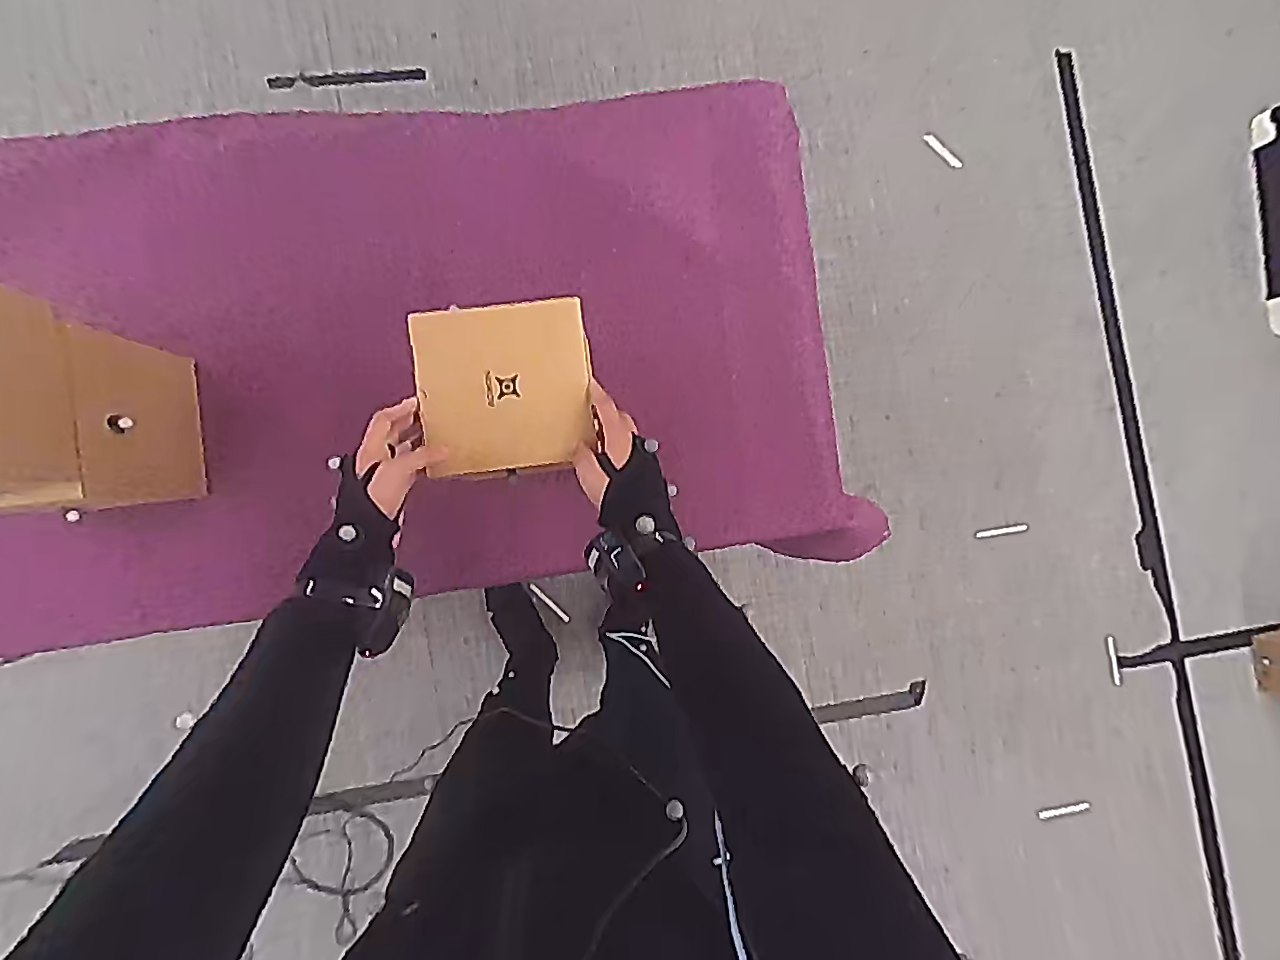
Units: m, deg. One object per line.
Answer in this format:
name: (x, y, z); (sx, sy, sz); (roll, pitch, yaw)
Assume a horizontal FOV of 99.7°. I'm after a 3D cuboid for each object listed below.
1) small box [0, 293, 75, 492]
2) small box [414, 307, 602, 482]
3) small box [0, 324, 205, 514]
small box: (-0.612, -0.071, 0.426); (0.168, 0.176, 0.179); (-10, 88, -5)
small box: (-0.137, -0.088, 0.626); (0.179, 0.176, 0.168); (-6, 90, -2)
small box: (-0.619, -0.056, 0.590); (0.168, 0.176, 0.179); (-6, 89, -5)
